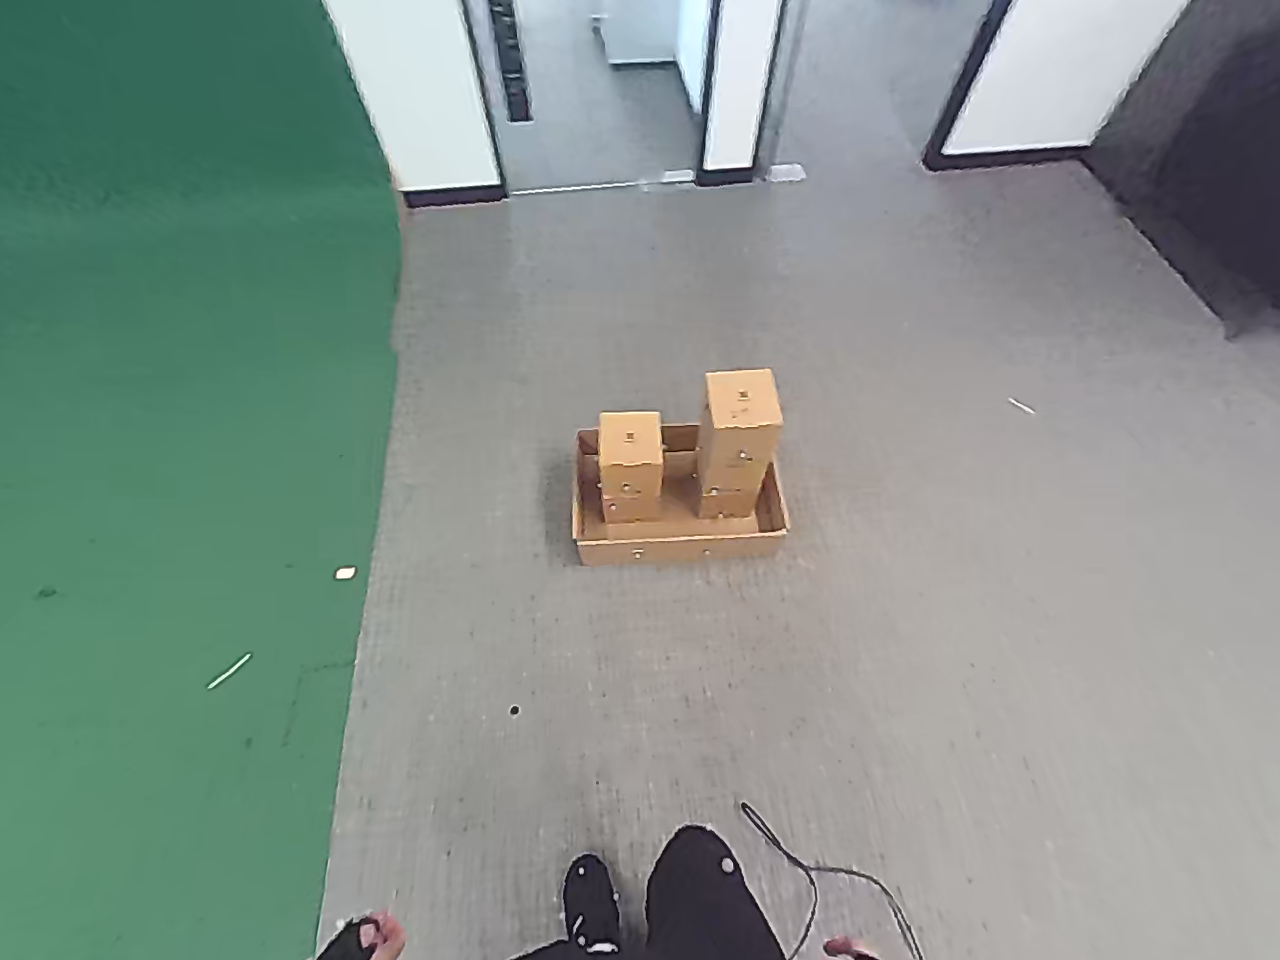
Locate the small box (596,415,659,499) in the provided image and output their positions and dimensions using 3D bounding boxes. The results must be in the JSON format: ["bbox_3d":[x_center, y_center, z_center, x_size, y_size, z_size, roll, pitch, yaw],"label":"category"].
[{"bbox_3d":[-0.039,-0.063,1.514,0.168,0.176,0.179,-2,58,-3],"label":"small box"}]

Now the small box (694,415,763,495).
[{"bbox_3d":[0.243,-0.069,1.521,0.168,0.176,0.179,-1,58,0],"label":"small box"}]

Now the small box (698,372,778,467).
[{"bbox_3d":[0.241,-0.152,1.379,0.168,0.176,0.179,-3,59,0],"label":"small box"}]
